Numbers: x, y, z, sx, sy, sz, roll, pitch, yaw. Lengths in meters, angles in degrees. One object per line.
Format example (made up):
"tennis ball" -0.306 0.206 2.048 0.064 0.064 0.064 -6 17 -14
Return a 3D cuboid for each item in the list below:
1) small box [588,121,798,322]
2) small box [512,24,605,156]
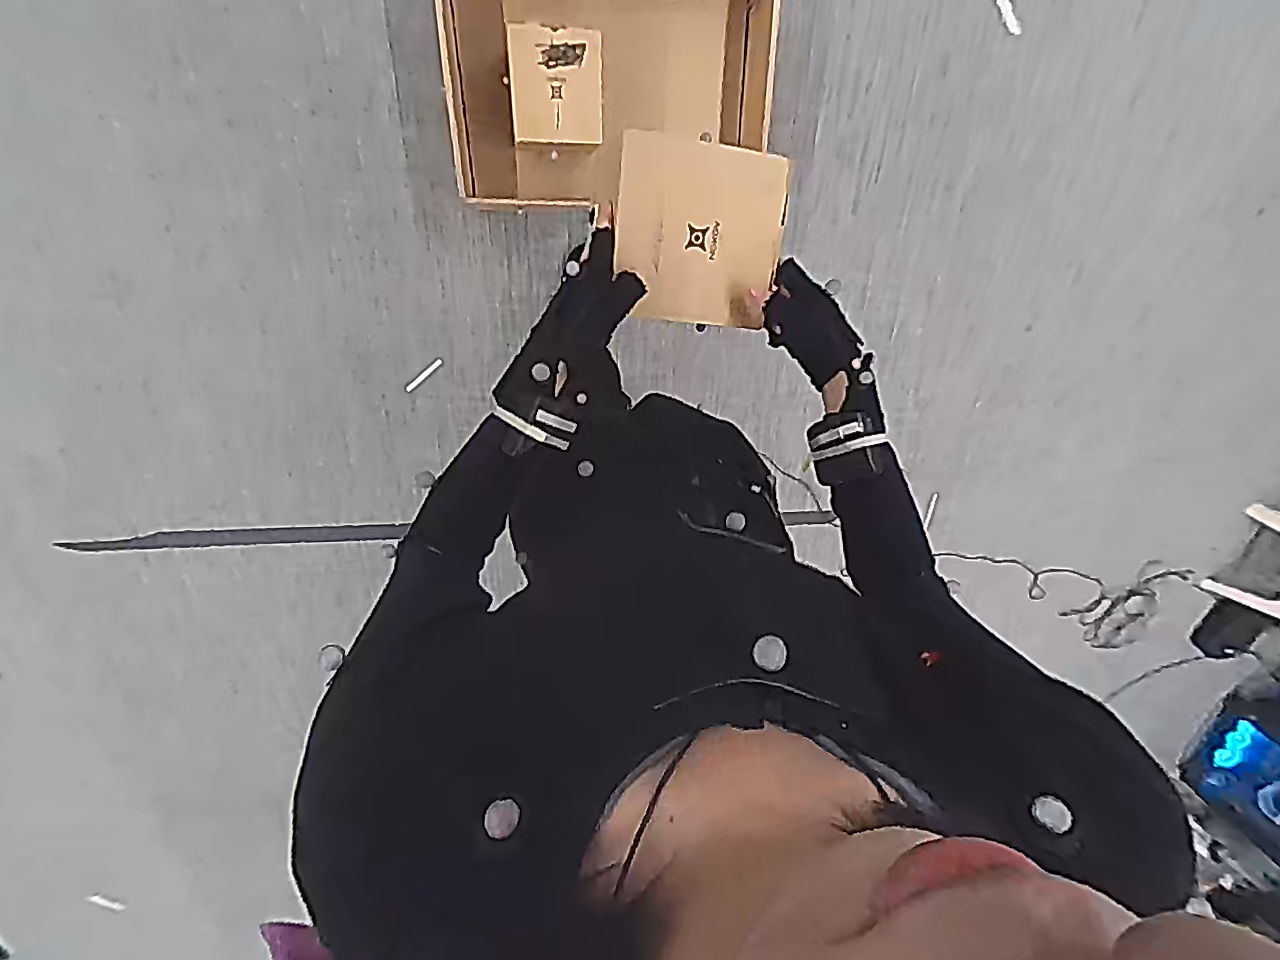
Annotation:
"small box" 0.045 -0.280 0.609 0.179 0.176 0.168 0 112 -15
"small box" -0.159 -0.742 1.047 0.168 0.176 0.179 -4 117 -9
